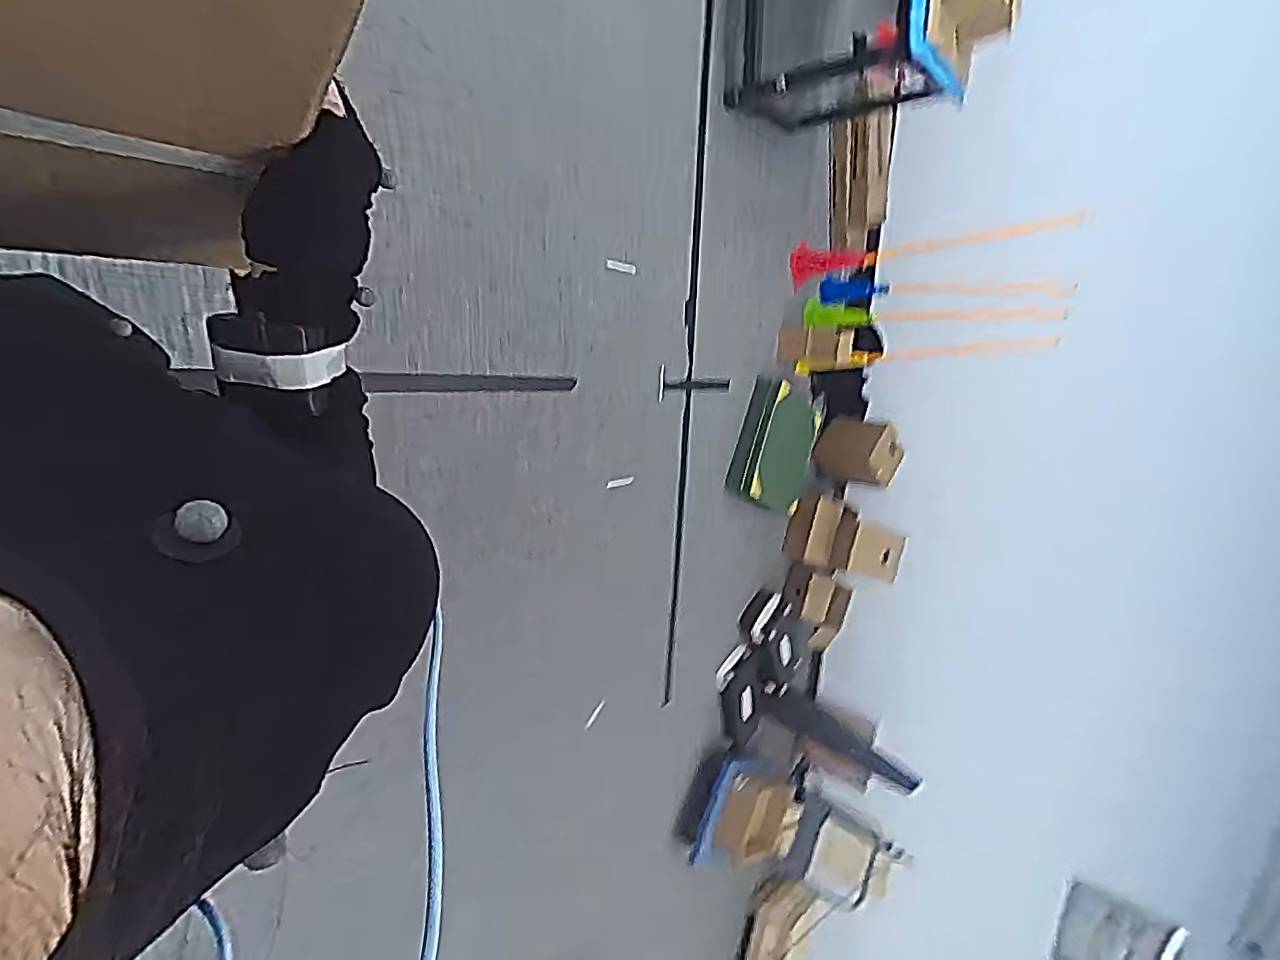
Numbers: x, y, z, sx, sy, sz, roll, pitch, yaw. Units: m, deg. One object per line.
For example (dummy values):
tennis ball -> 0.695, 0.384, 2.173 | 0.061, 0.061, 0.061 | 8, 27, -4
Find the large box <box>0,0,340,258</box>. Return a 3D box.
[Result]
large box -> -0.379, -0.298, 0.171 | 0.408, 0.320, 0.320 | -15, 96, -43
